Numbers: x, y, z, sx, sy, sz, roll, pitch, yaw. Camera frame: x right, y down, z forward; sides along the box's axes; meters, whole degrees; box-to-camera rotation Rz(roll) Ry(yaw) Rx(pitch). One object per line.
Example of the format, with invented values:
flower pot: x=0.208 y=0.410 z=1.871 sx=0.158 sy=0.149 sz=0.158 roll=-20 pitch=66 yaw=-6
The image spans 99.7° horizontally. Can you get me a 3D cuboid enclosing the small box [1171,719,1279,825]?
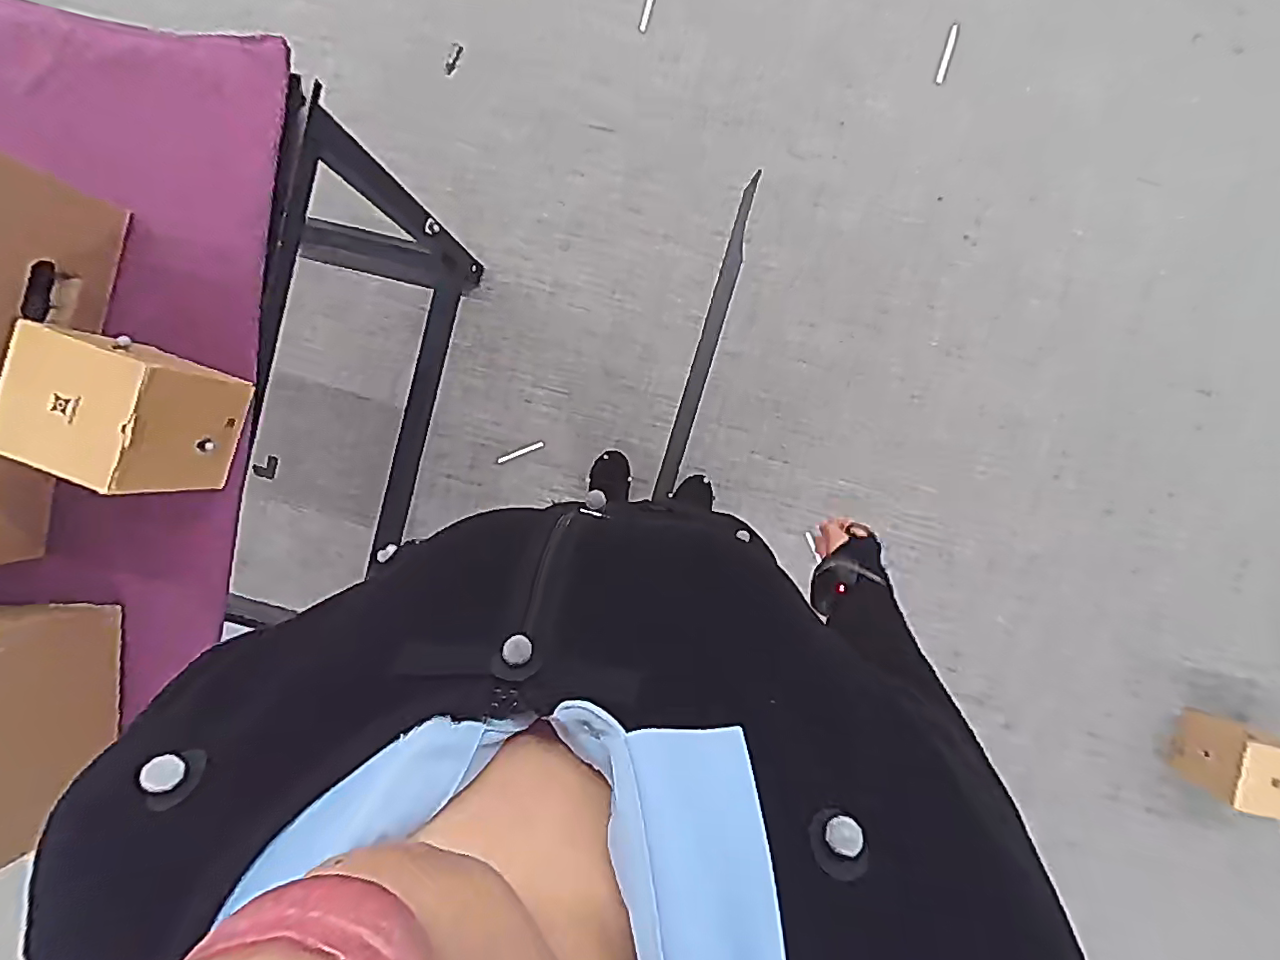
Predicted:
small box: x=1.484 y=0.717 z=1.335 sx=0.179 sy=0.176 sz=0.168 roll=12 pitch=92 yaw=3
